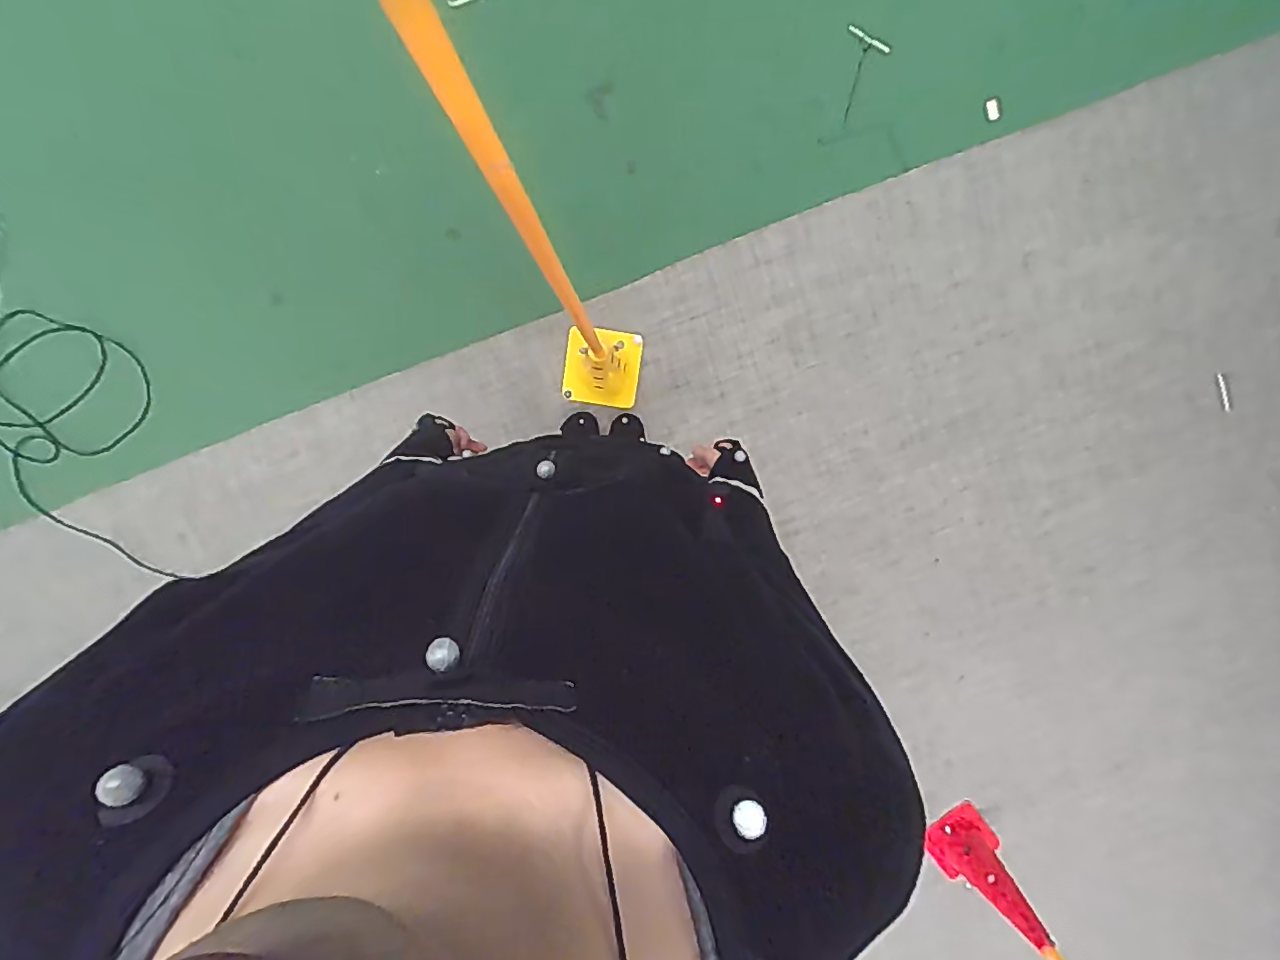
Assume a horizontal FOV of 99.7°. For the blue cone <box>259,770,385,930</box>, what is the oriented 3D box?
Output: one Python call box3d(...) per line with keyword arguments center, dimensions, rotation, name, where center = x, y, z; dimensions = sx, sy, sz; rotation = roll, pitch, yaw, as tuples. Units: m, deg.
box3d(center=(-0.830, 0.959, 1.386), dimensions=(0.192, 0.380, 0.193), rotation=(23, 97, -6), name="blue cone")
